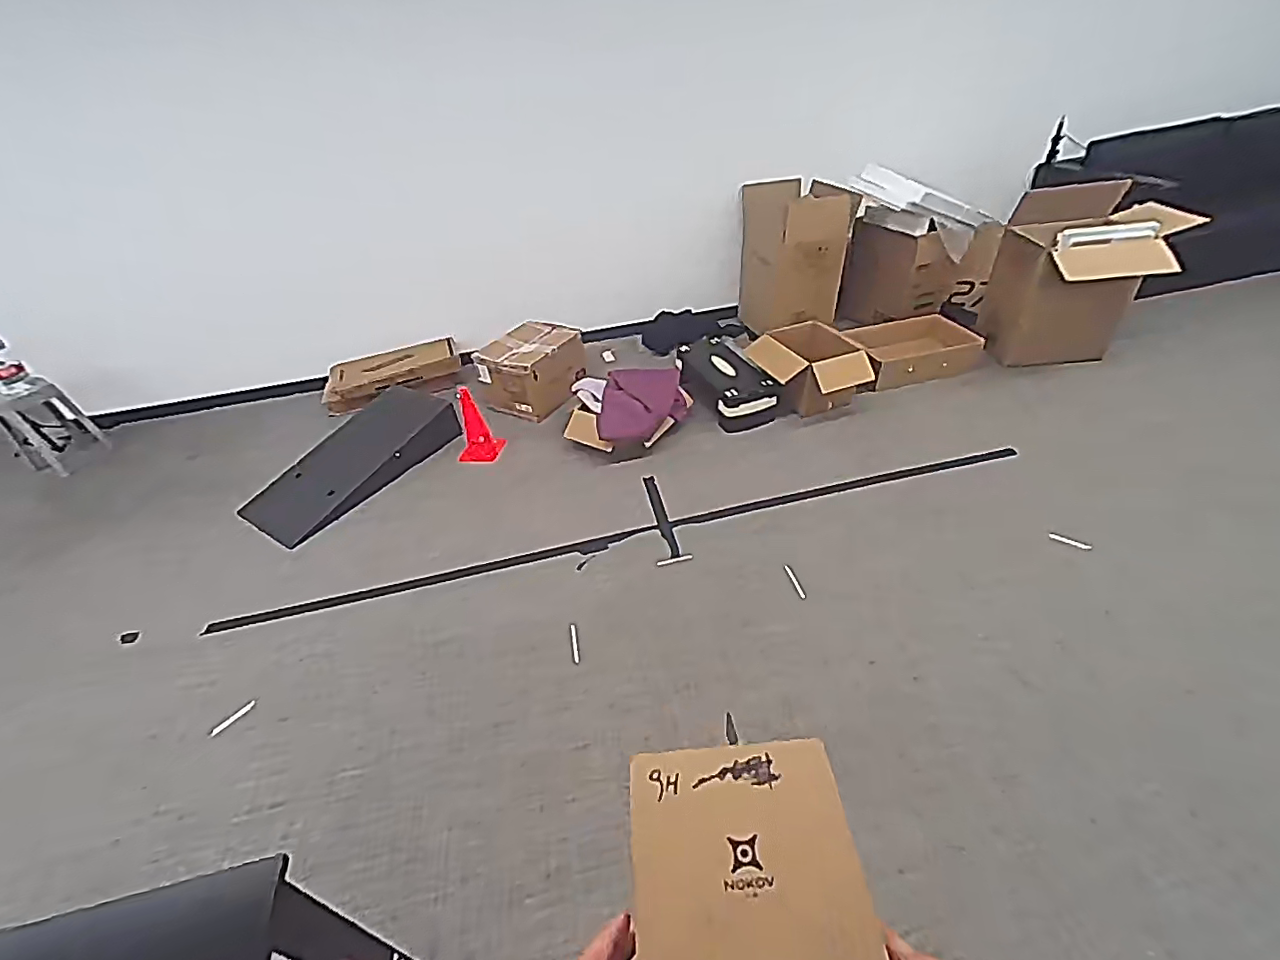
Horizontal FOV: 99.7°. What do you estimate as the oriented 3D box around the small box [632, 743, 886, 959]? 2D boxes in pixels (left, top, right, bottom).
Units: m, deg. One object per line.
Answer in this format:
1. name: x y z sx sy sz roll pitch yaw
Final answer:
1. small box: 0.086 0.345 0.445 0.168 0.176 0.179 -6 41 1
